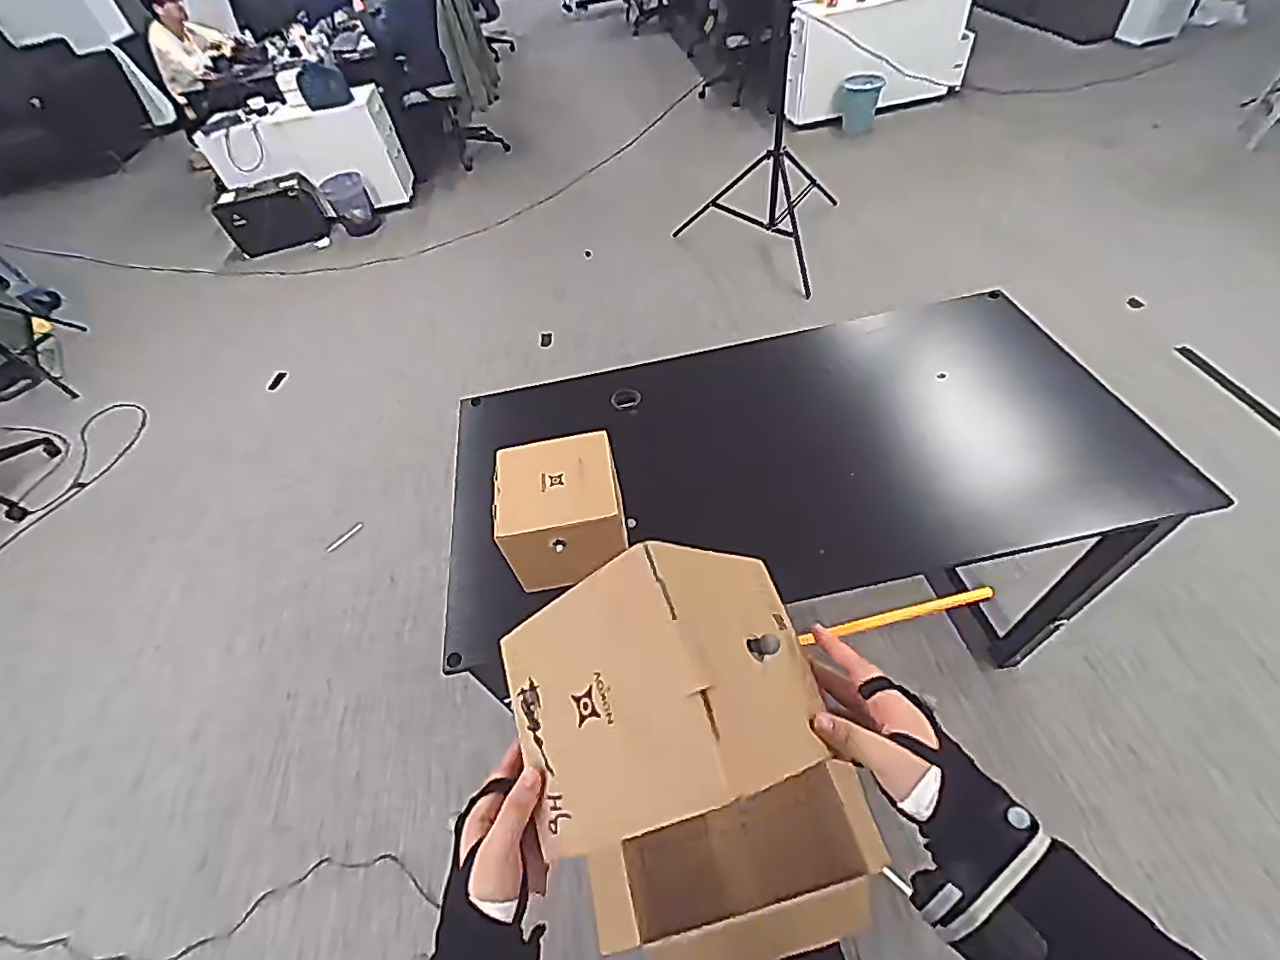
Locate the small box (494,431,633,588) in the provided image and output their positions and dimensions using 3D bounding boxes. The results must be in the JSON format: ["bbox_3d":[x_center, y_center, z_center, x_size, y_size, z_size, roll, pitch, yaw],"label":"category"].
[{"bbox_3d":[-0.116,0.051,0.844,0.179,0.176,0.168,-11,52,-1],"label":"small box"}]
